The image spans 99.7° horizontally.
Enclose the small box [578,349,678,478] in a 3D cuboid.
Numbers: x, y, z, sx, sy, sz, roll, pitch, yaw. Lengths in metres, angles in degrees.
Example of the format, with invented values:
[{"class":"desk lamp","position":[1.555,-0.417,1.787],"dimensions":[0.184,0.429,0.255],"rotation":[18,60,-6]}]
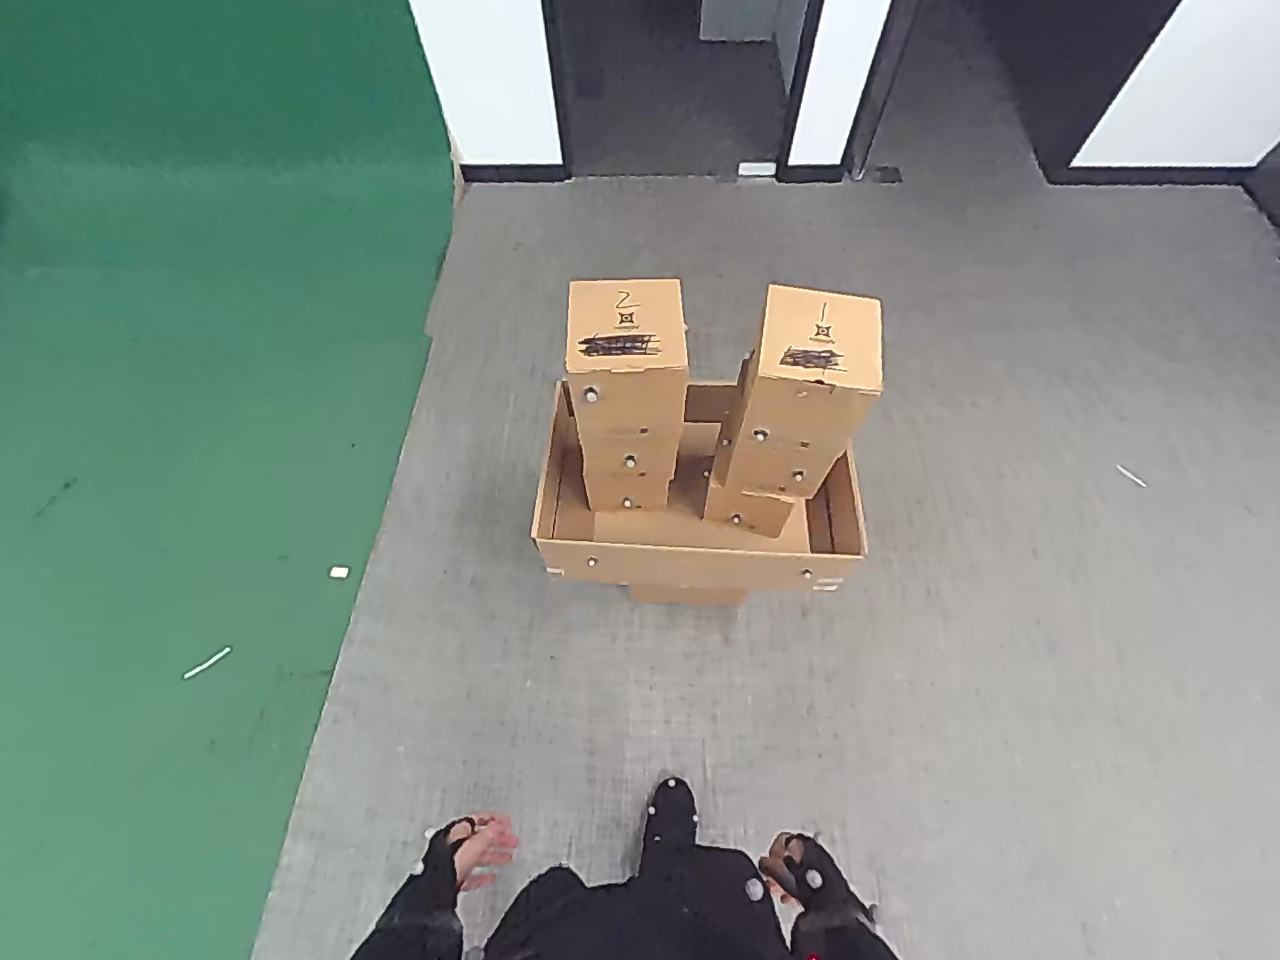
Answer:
[{"class":"small box","position":[-0.017,-0.114,0.979],"dimensions":[0.168,0.176,0.179],"rotation":[1,62,-1]}]

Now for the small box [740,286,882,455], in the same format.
[{"class":"small box","position":[0.251,-0.160,0.820],"dimensions":[0.168,0.176,0.179],"rotation":[11,61,5]}]

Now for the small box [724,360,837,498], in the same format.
[{"class":"small box","position":[0.247,-0.085,0.965],"dimensions":[0.168,0.176,0.179],"rotation":[8,61,4]}]

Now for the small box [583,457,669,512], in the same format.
[{"class":"small box","position":[-0.026,-0.048,1.129],"dimensions":[0.168,0.176,0.179],"rotation":[0,61,0]}]
